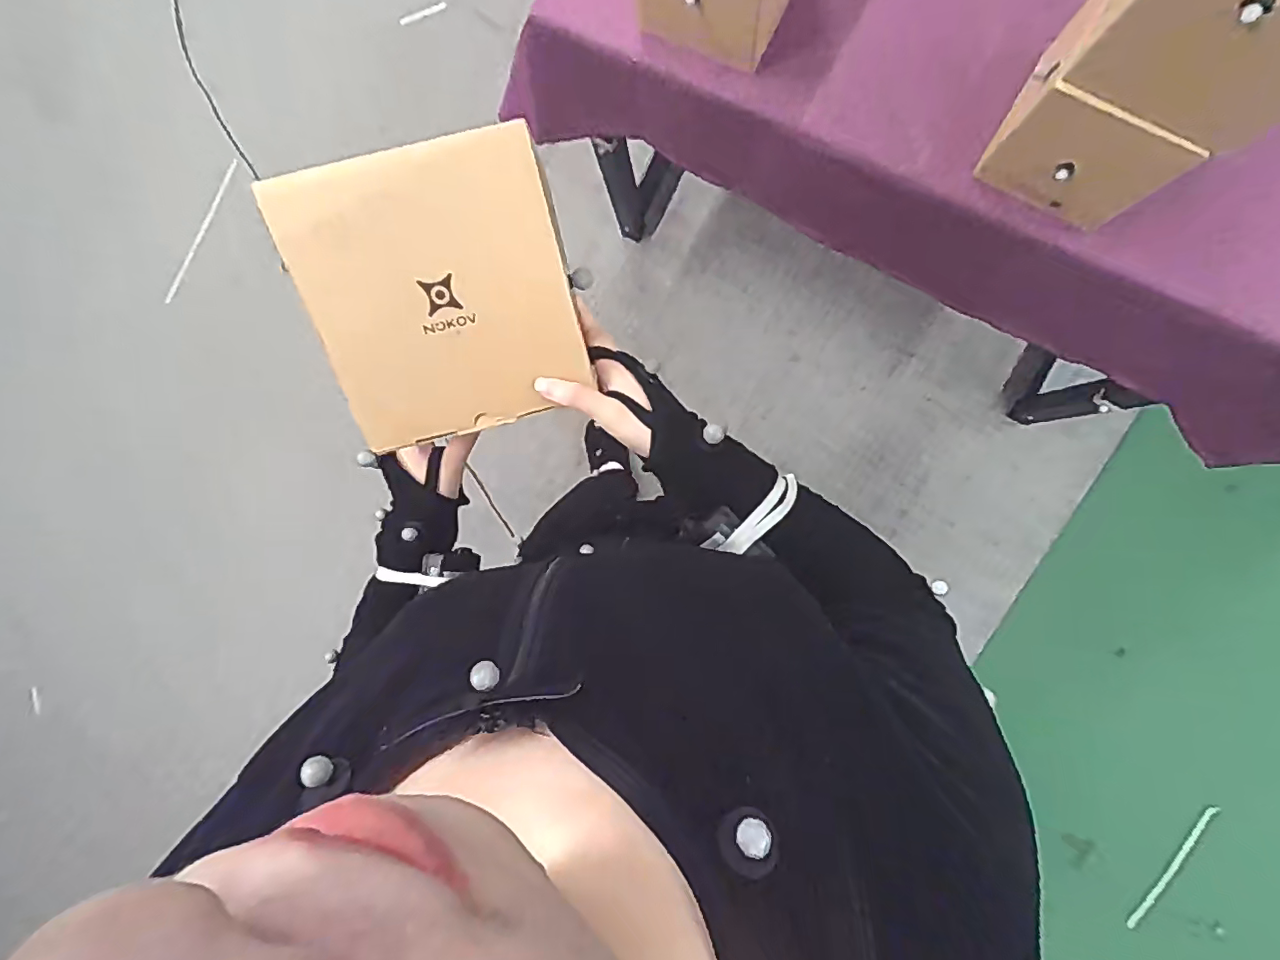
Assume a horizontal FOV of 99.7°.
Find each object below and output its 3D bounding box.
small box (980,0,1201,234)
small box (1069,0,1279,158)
[{"bbox_3d":[0.538,-0.423,0.624,0.168,0.176,0.179,31,93,4],"label":"small box"},{"bbox_3d":[0.531,-0.420,0.459,0.179,0.176,0.168,31,94,4],"label":"small box"}]
